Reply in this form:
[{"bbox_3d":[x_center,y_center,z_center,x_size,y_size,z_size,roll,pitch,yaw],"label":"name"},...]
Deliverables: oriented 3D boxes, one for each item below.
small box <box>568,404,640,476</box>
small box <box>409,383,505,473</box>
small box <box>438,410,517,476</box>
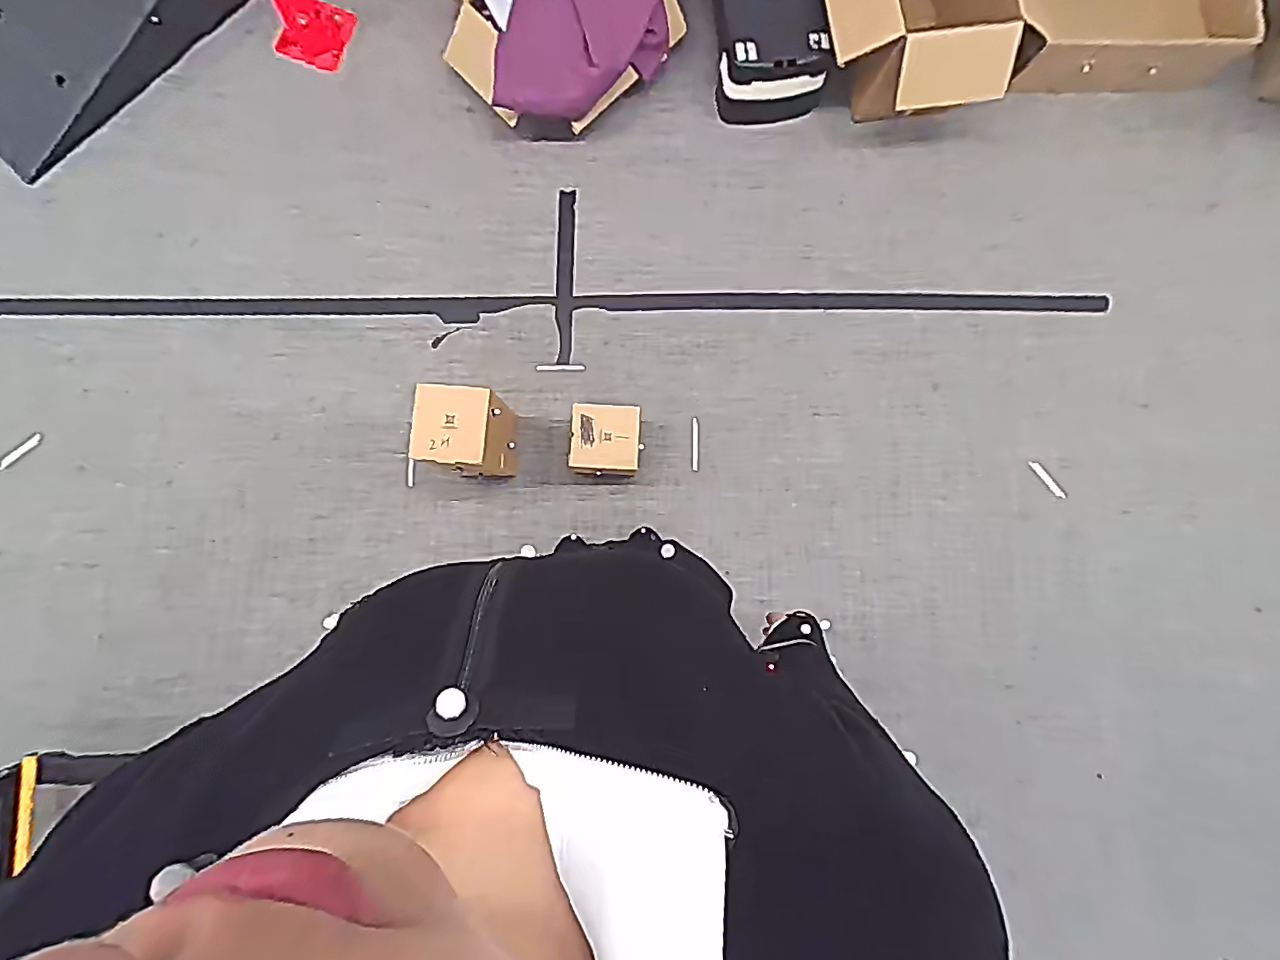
[{"bbox_3d":[-0.093,-0.102,1.455,0.179,0.176,0.168,3,86,-2],"label":"small box"},{"bbox_3d":[-0.424,-0.118,1.281,0.168,0.176,0.179,5,86,0],"label":"small box"},{"bbox_3d":[-0.428,-0.102,1.447,0.168,0.176,0.179,0,86,-1],"label":"small box"}]
